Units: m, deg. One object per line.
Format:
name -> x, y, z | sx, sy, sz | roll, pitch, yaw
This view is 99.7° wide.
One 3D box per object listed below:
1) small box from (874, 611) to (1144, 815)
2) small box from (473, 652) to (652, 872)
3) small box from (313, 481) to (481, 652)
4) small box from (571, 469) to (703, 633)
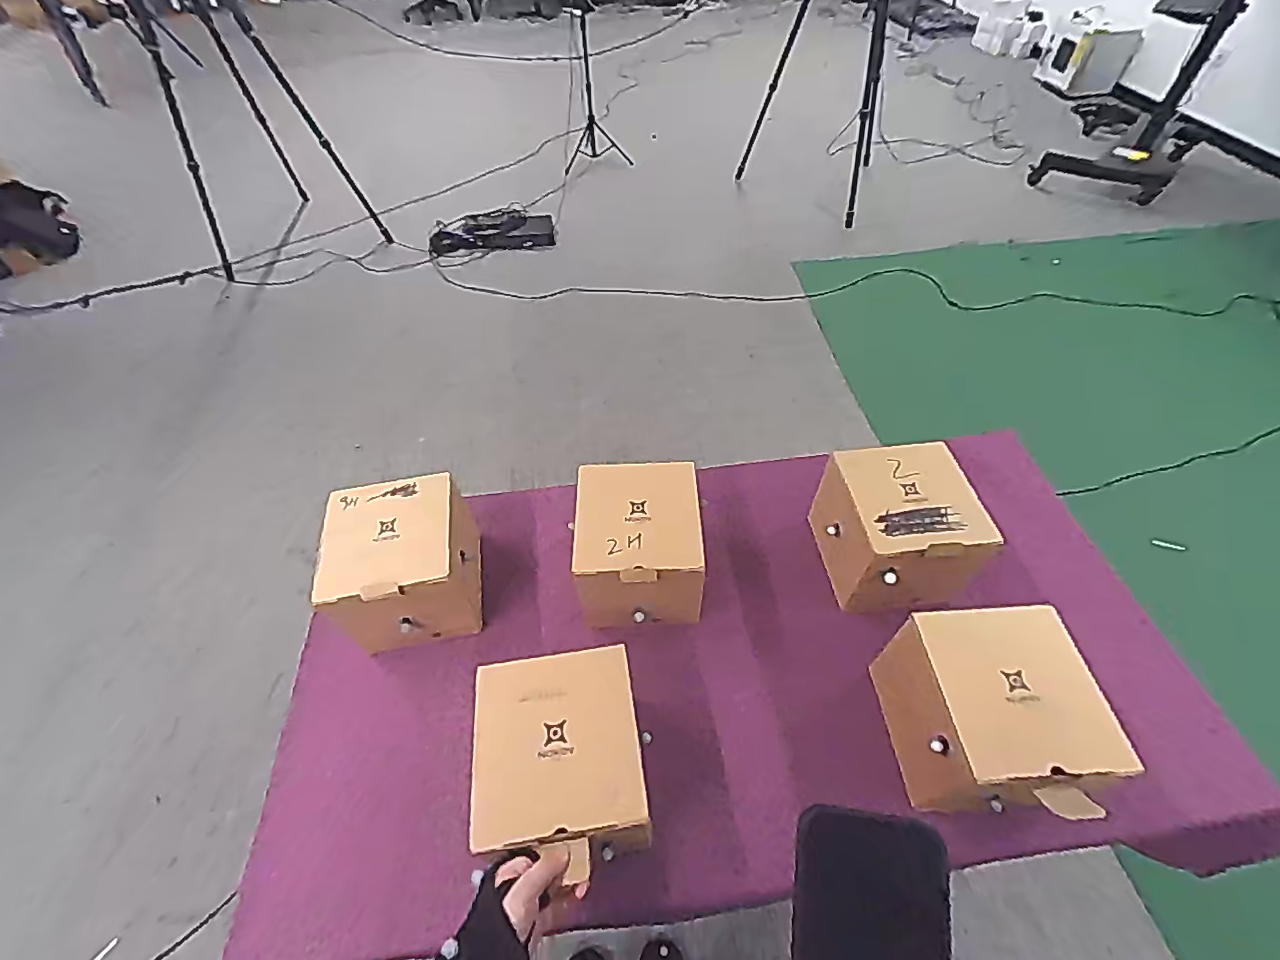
small box -> 0.395, 0.270, 0.625 | 0.168, 0.176, 0.179 | -3, 51, 0
small box -> -0.079, 0.318, 0.603 | 0.168, 0.176, 0.179 | -7, 48, -5
small box -> -0.328, 0.130, 0.769 | 0.168, 0.176, 0.179 | -10, 52, -6
small box -> -0.002, 0.103, 0.777 | 0.168, 0.176, 0.179 | -2, 52, 1
